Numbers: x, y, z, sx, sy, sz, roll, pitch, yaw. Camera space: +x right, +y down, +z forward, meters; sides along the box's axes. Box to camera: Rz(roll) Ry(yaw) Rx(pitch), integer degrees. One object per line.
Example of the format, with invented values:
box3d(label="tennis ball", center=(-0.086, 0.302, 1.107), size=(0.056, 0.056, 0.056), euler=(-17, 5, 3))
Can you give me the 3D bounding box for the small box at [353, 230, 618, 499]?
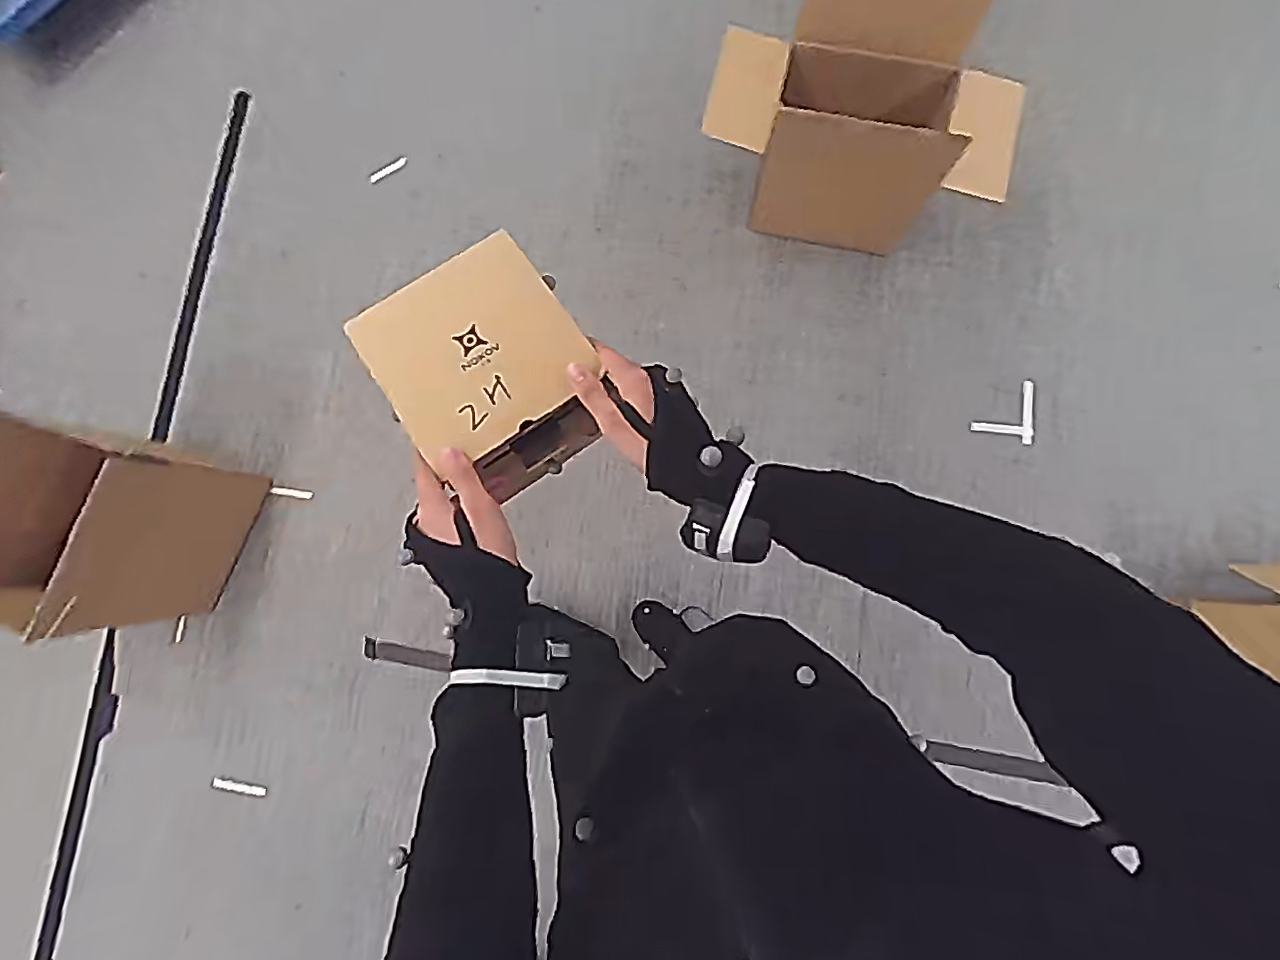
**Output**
box3d(label="small box", center=(-0.136, -0.098, 0.541), size=(0.168, 0.176, 0.179), euler=(-34, 85, -6))
